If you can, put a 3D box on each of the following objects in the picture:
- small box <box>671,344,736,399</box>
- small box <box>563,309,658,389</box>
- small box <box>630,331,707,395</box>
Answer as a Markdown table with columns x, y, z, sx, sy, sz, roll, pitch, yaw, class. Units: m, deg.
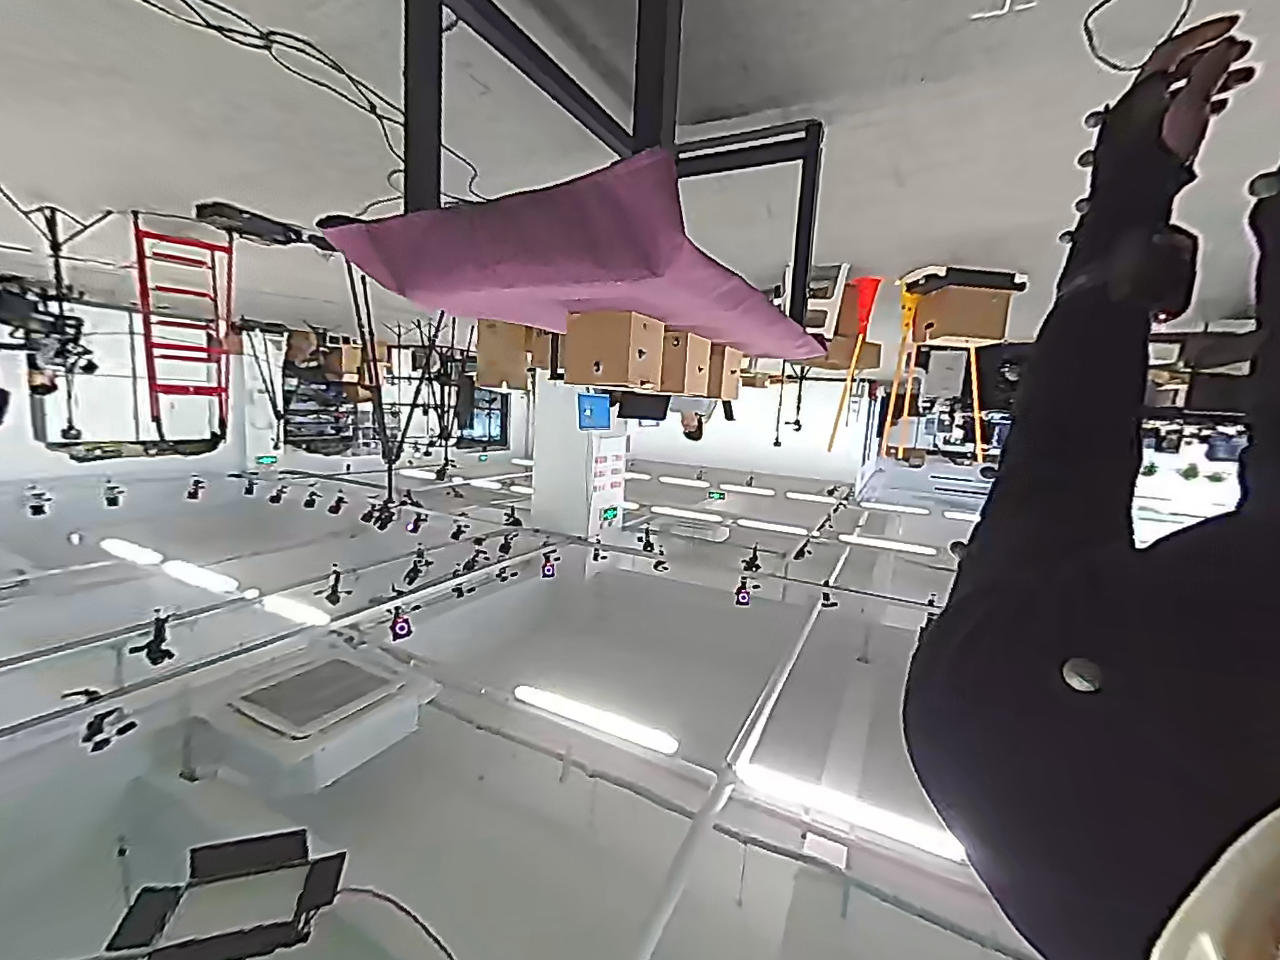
| x | y | z | sx | sy | sz | roll | pitch | yaw | class |
| --- | --- | --- | --- | --- | --- | --- | --- | --- | --- |
| 0.217 | -0.362 | 1.813 | 0.179 | 0.176 | 0.168 | 7 | -172 | 28 | small box |
| -0.066 | -0.305 | 1.273 | 0.179 | 0.176 | 0.168 | 8 | -171 | 26 | small box |
| 0.084 | -0.334 | 1.555 | 0.168 | 0.176 | 0.179 | 8 | -170 | 28 | small box |
